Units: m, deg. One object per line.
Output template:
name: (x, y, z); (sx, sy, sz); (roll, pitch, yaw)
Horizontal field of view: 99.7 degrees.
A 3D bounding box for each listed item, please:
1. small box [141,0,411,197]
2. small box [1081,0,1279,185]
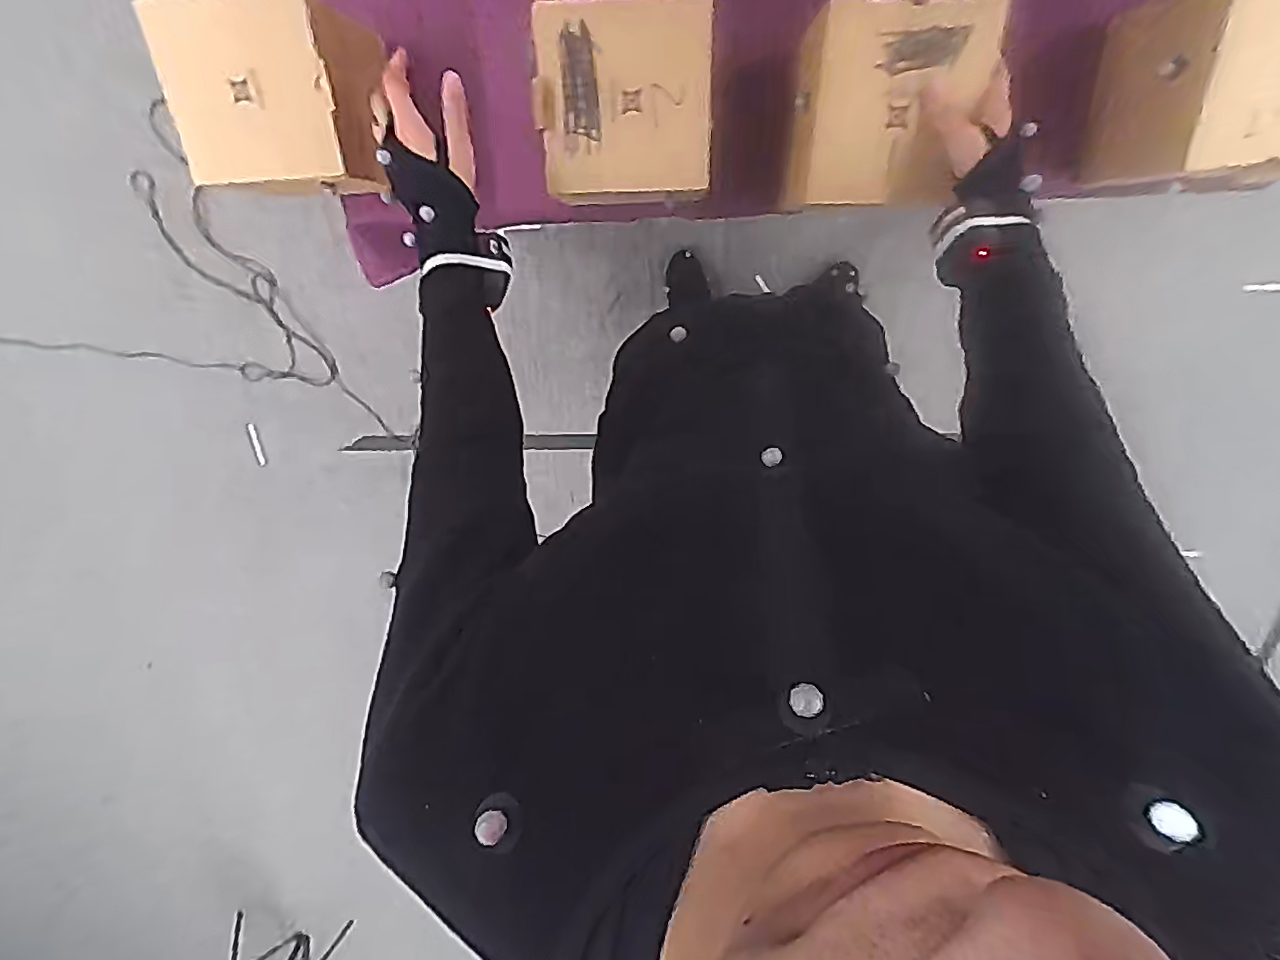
small box: (-0.400, -0.432, 0.631); (0.179, 0.176, 0.168); (-2, 114, 3)
small box: (0.622, -0.425, 0.574); (0.168, 0.176, 0.179); (-2, 114, 5)
